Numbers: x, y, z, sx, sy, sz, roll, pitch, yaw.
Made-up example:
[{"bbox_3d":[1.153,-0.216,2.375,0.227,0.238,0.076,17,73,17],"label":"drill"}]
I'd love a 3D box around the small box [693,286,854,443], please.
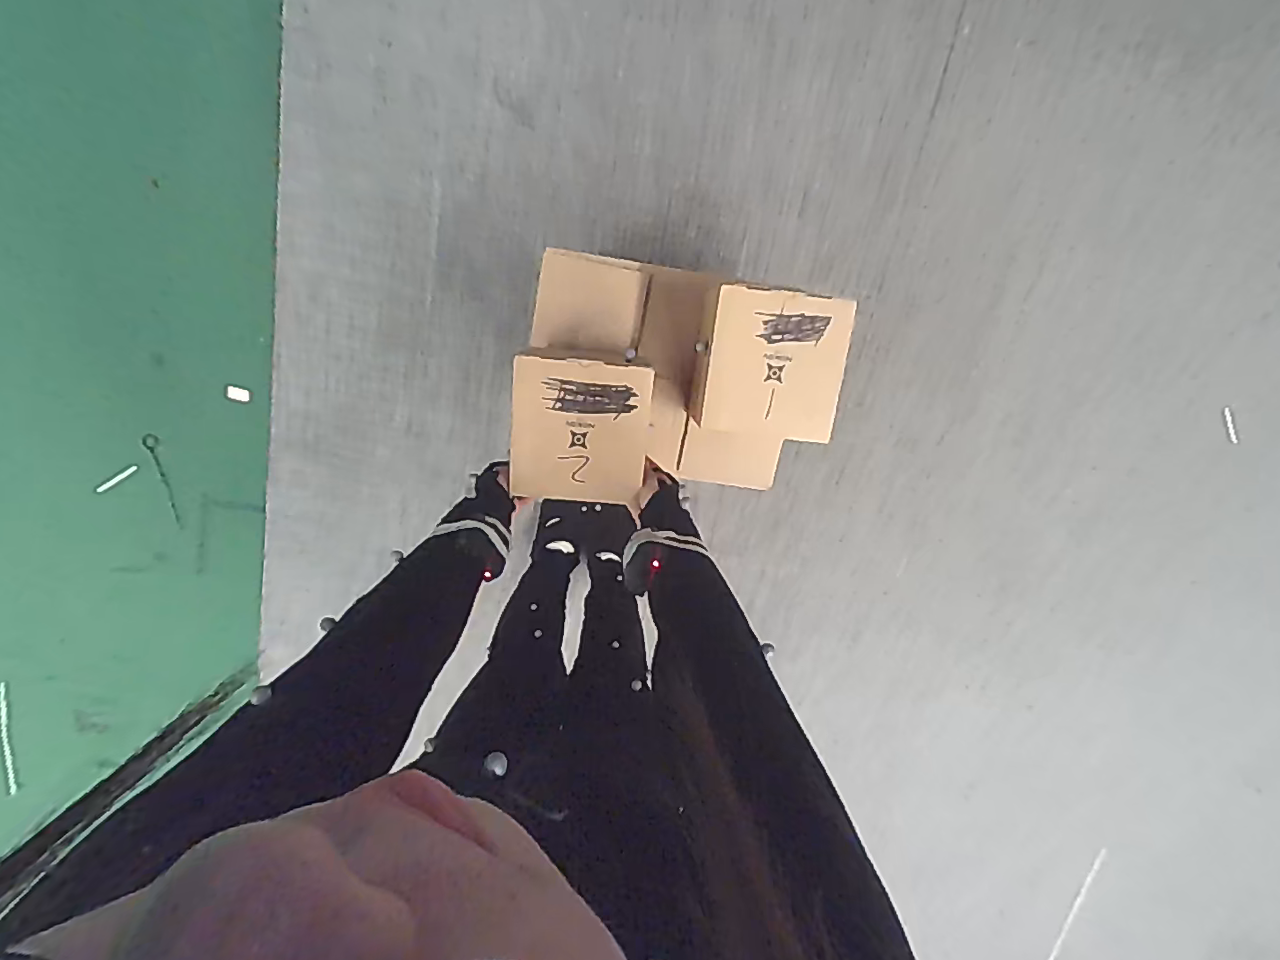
[{"bbox_3d":[0.168,-0.159,0.742,0.168,0.176,0.179,6,105,-1],"label":"small box"}]
